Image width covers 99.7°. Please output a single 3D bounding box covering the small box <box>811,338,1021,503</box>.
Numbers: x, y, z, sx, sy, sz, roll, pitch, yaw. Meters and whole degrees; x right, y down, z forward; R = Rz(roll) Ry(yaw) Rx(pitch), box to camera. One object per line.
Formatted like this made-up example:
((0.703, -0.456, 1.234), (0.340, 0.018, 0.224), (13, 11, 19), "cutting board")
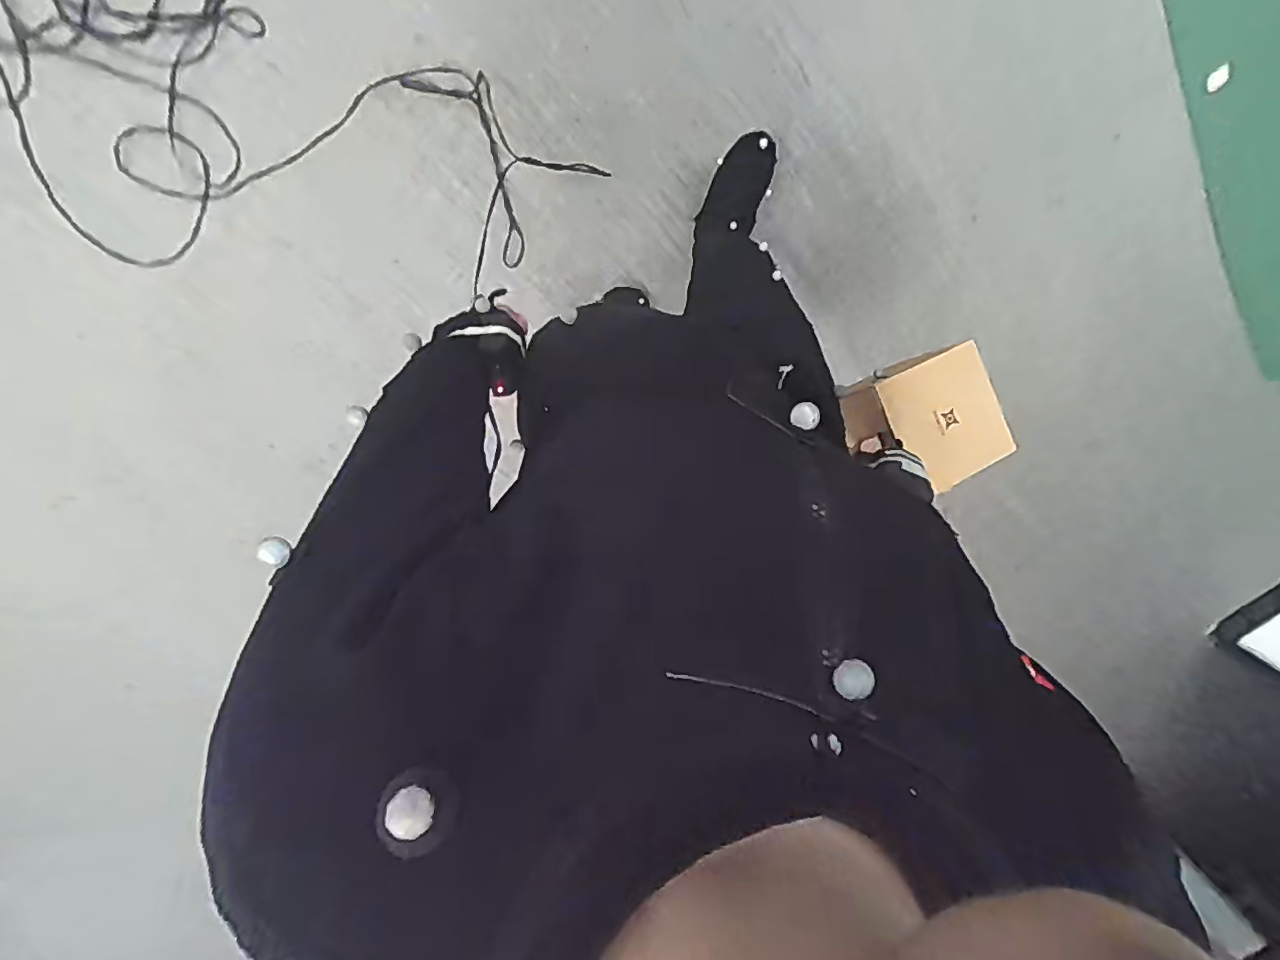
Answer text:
((0.383, -0.078, 0.774), (0.179, 0.176, 0.168), (-26, 94, -13), "small box")
